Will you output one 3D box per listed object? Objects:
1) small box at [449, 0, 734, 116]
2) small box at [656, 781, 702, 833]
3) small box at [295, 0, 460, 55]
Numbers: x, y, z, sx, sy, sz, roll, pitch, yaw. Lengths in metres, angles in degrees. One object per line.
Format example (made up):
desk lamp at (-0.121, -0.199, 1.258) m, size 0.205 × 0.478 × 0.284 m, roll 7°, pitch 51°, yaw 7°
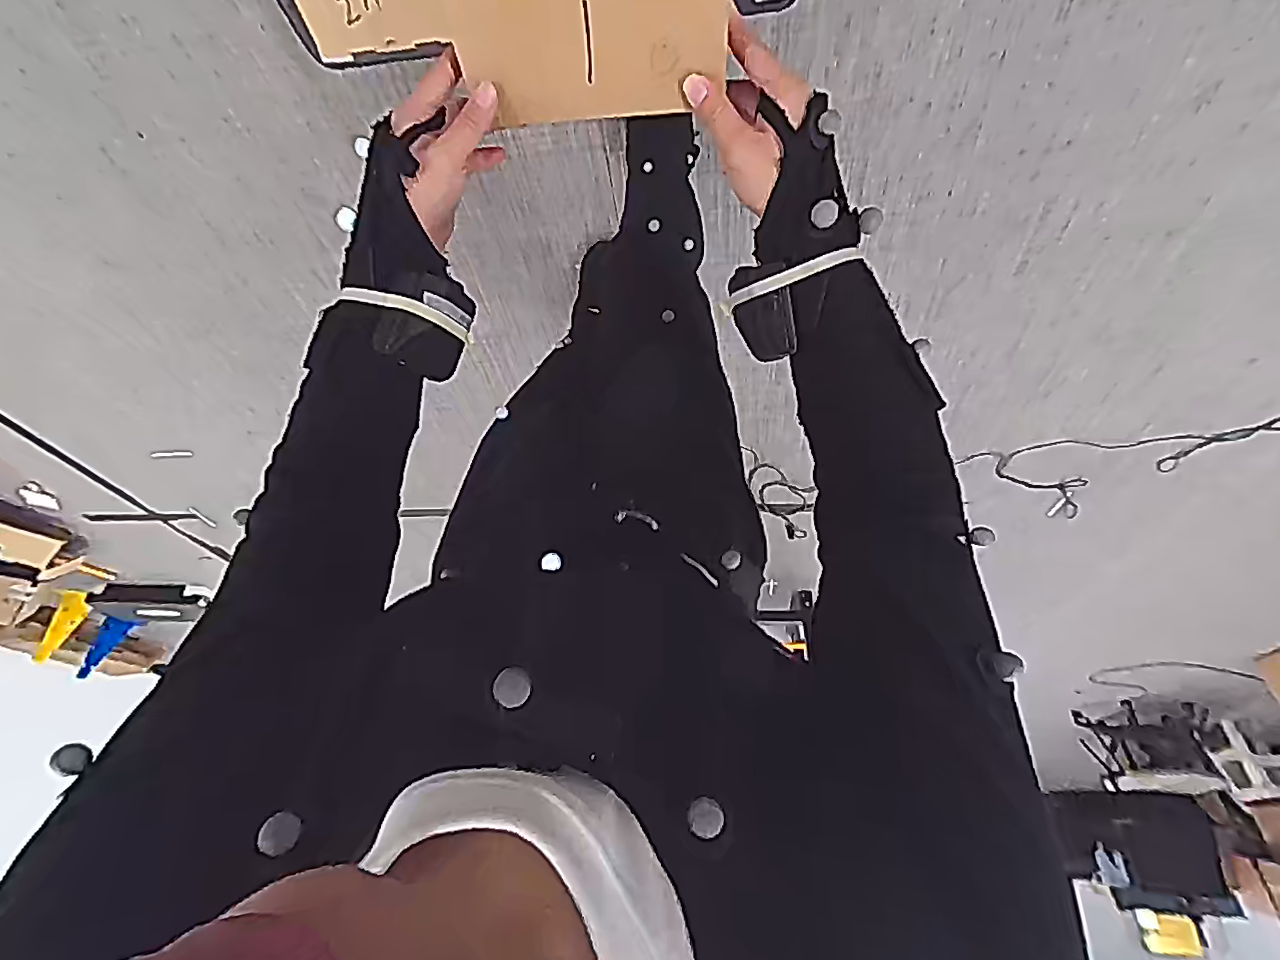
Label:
small box at (-0.028, -0.357, 0.325) m, size 0.168 × 0.176 × 0.179 m, roll -1°, pitch 147°, yaw 5°
small box at (0.161, 1.340, 2.217) m, size 0.179 × 0.176 × 0.168 m, roll -1°, pitch 144°, yaw 8°
small box at (-0.260, -0.567, 0.543) m, size 0.168 × 0.176 × 0.179 m, roll -1°, pitch 144°, yaw 7°
